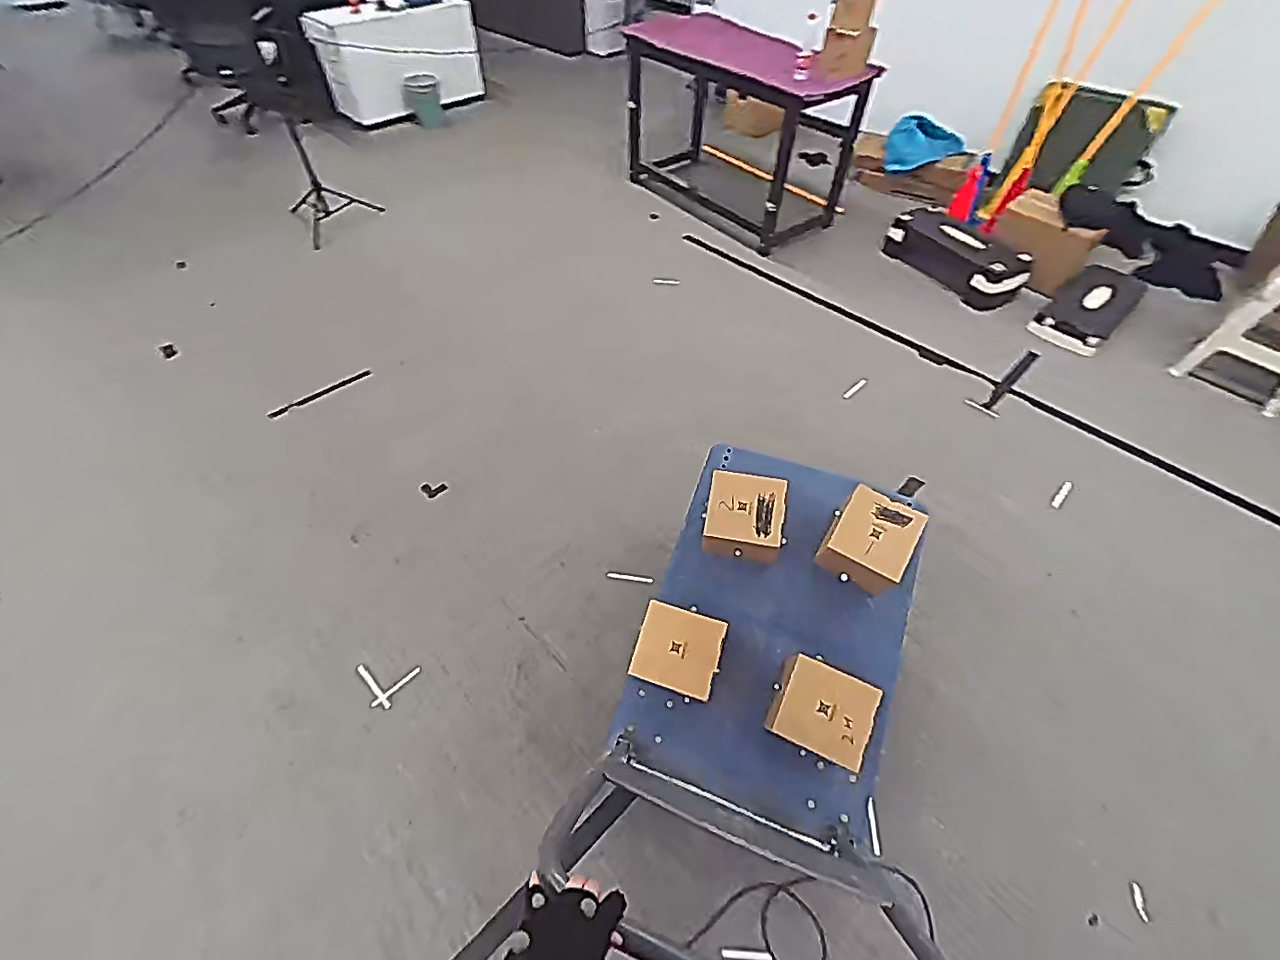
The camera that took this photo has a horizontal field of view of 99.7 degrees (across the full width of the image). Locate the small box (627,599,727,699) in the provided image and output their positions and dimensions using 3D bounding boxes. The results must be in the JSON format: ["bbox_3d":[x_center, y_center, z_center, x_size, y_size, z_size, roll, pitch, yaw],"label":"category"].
[{"bbox_3d":[0.086,0.385,1.218,0.179,0.176,0.168,16,71,10],"label":"small box"}]

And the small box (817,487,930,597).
[{"bbox_3d":[0.536,0.150,1.268,0.168,0.176,0.179,29,75,16],"label":"small box"}]

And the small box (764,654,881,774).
[{"bbox_3d":[0.376,0.491,1.145,0.179,0.176,0.168,23,73,14],"label":"small box"}]
